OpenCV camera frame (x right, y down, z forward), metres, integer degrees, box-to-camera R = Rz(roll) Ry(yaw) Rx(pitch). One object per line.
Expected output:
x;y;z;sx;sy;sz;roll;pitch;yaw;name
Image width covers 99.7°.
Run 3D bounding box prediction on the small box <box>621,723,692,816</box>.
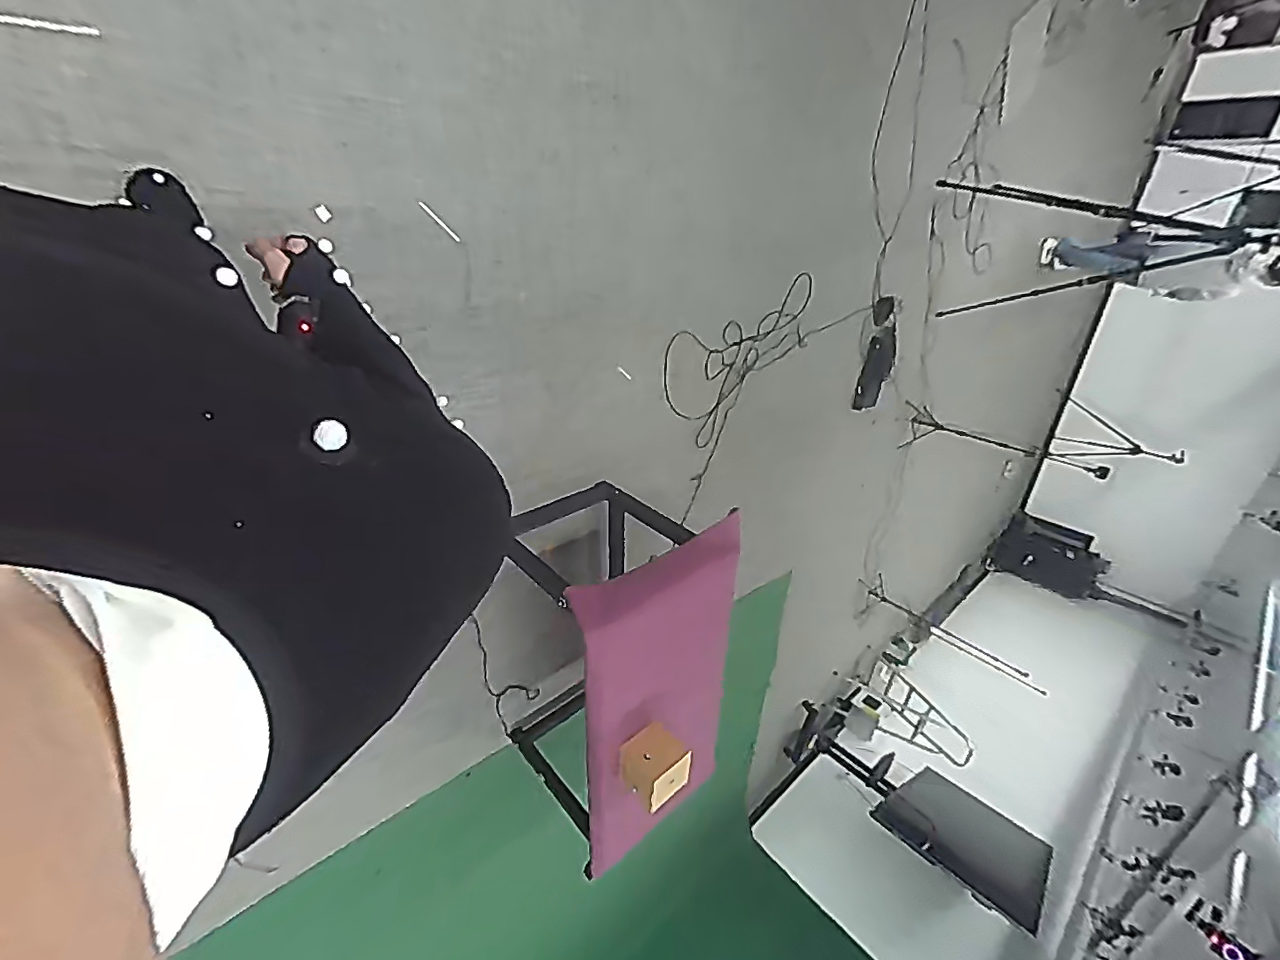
0.050;0.969;1.824;0.179;0.176;0.168;-20;125;-39;small box
